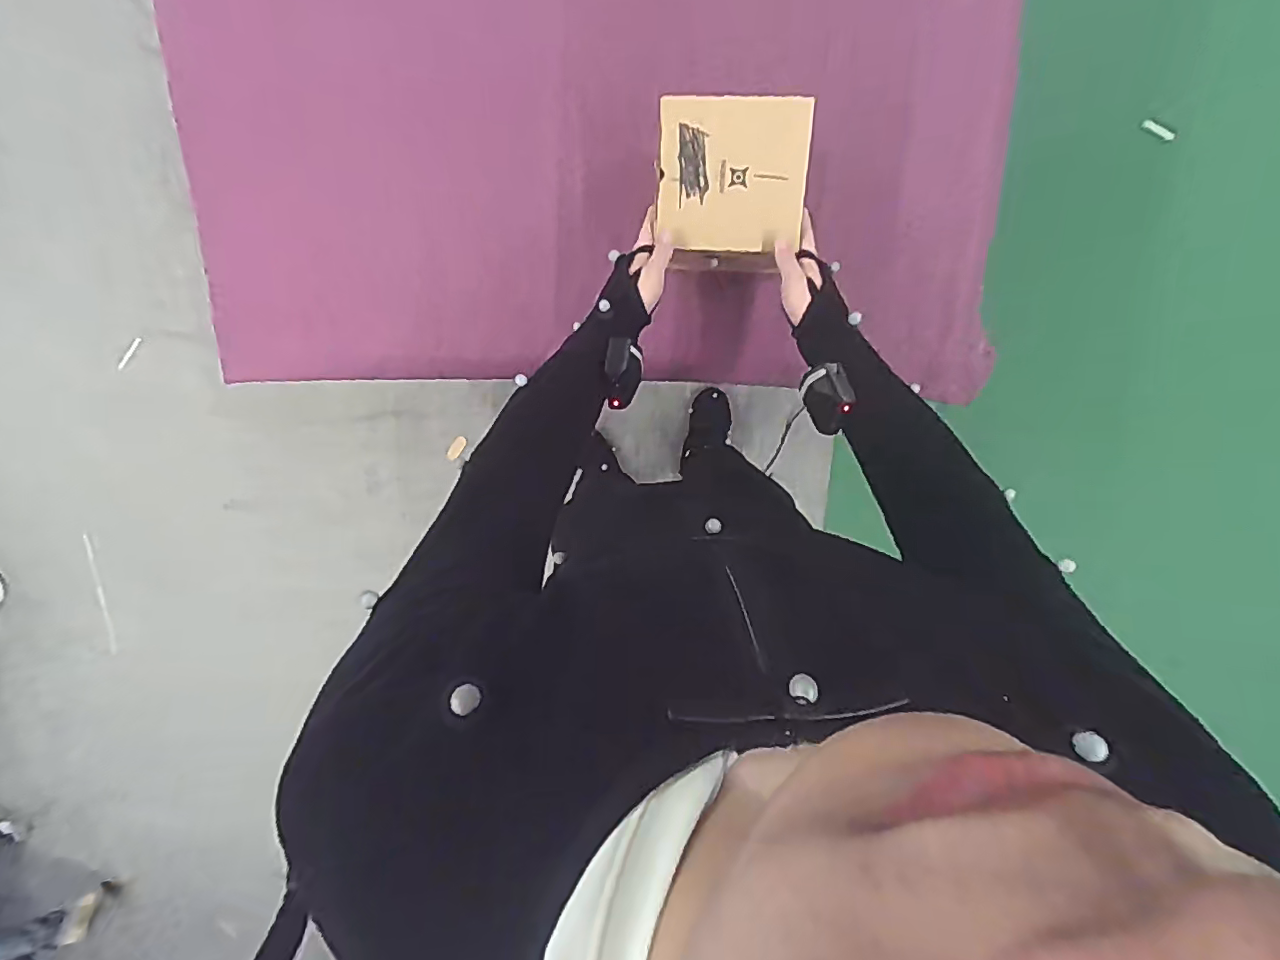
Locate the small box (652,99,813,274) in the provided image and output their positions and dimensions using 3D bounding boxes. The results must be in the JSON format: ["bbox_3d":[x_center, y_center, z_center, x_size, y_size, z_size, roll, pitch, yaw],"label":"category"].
[{"bbox_3d":[0.113,-0.371,0.711,0.179,0.176,0.168,4,104,4],"label":"small box"}]

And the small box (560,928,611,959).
[{"bbox_3d":[-0.216,1.811,1.995,0.179,0.176,0.168,11,104,3],"label":"small box"}]
